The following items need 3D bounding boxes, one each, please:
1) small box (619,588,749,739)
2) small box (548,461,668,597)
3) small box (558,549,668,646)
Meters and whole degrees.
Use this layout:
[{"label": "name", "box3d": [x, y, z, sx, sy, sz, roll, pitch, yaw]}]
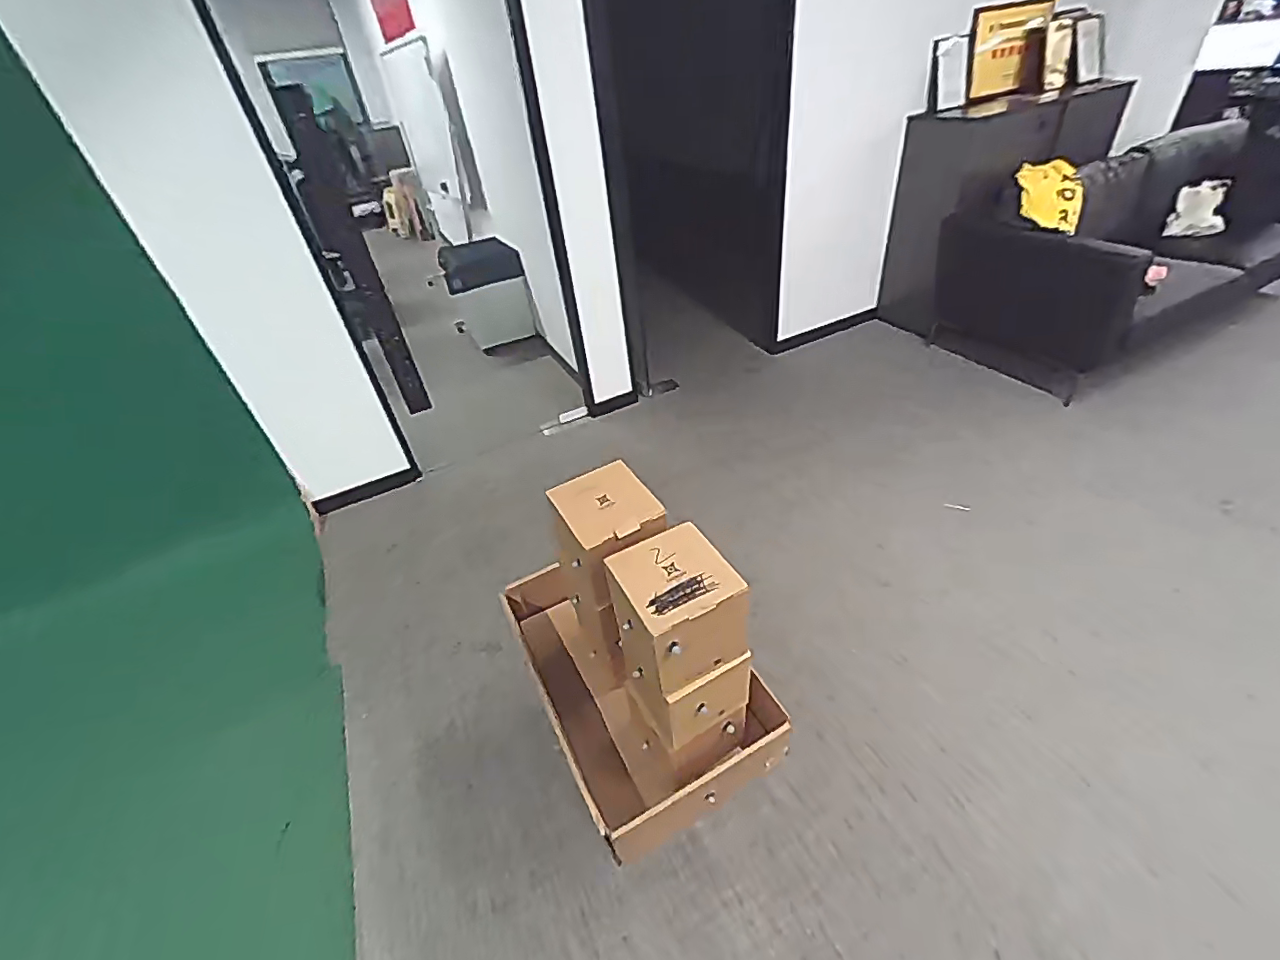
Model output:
[{"label": "small box", "box3d": [0.081, 0.338, 0.982, 0.168, 0.176, 0.179, -23, 42, -19]}, {"label": "small box", "box3d": [-0.056, 0.099, 1.035, 0.168, 0.176, 0.179, -23, 45, -20]}, {"label": "small box", "box3d": [-0.051, 0.222, 1.142, 0.168, 0.176, 0.179, -26, 45, -21]}]
